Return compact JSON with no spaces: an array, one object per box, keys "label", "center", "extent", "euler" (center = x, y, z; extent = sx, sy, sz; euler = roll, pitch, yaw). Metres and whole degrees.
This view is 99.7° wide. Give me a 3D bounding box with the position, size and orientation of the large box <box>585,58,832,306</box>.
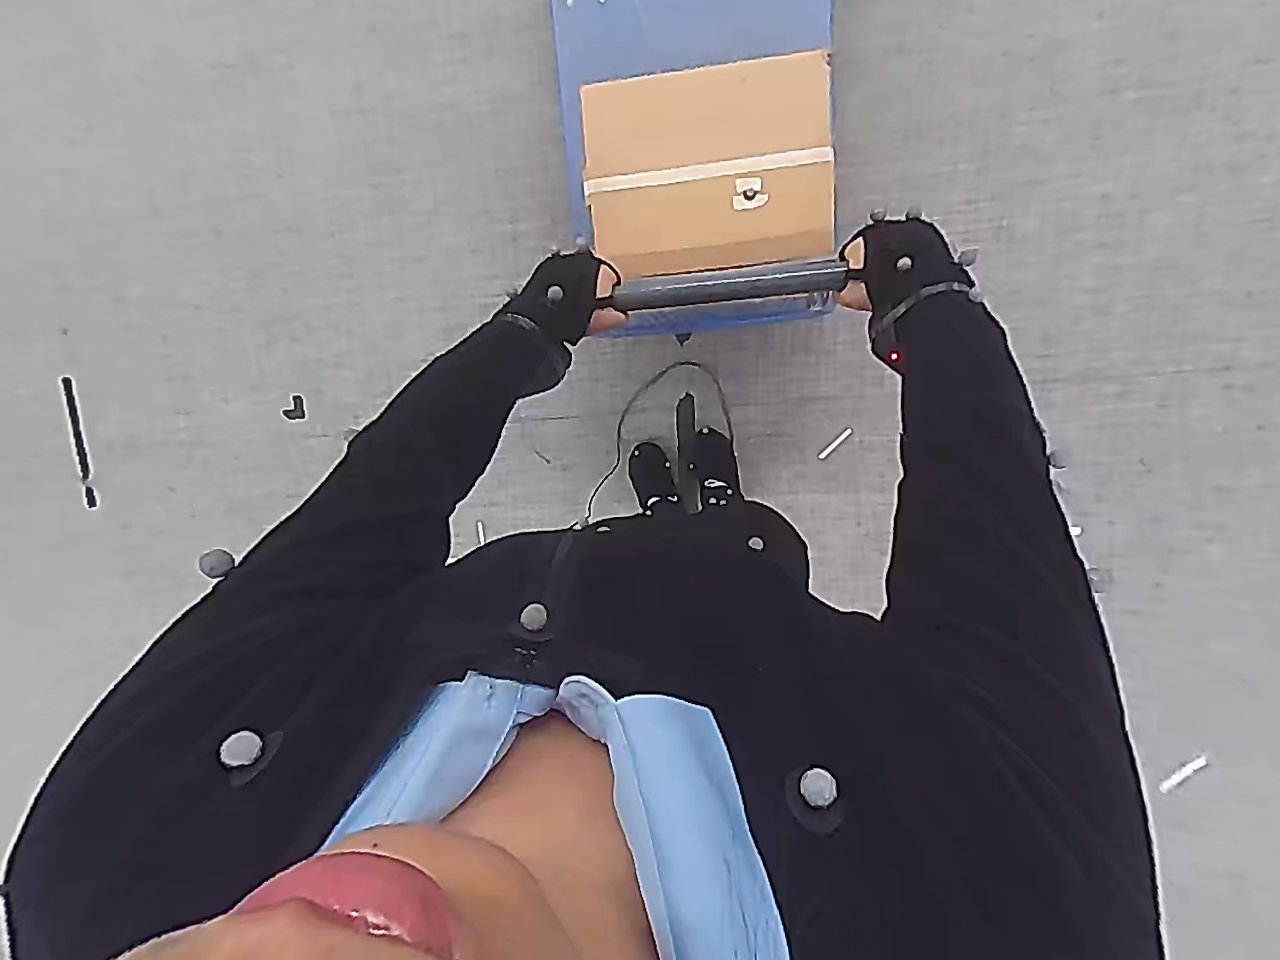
[{"label":"large box","center":[0.128,-0.544,1.066],"extent":[0.408,0.320,0.320],"euler":[-5,101,5]}]
